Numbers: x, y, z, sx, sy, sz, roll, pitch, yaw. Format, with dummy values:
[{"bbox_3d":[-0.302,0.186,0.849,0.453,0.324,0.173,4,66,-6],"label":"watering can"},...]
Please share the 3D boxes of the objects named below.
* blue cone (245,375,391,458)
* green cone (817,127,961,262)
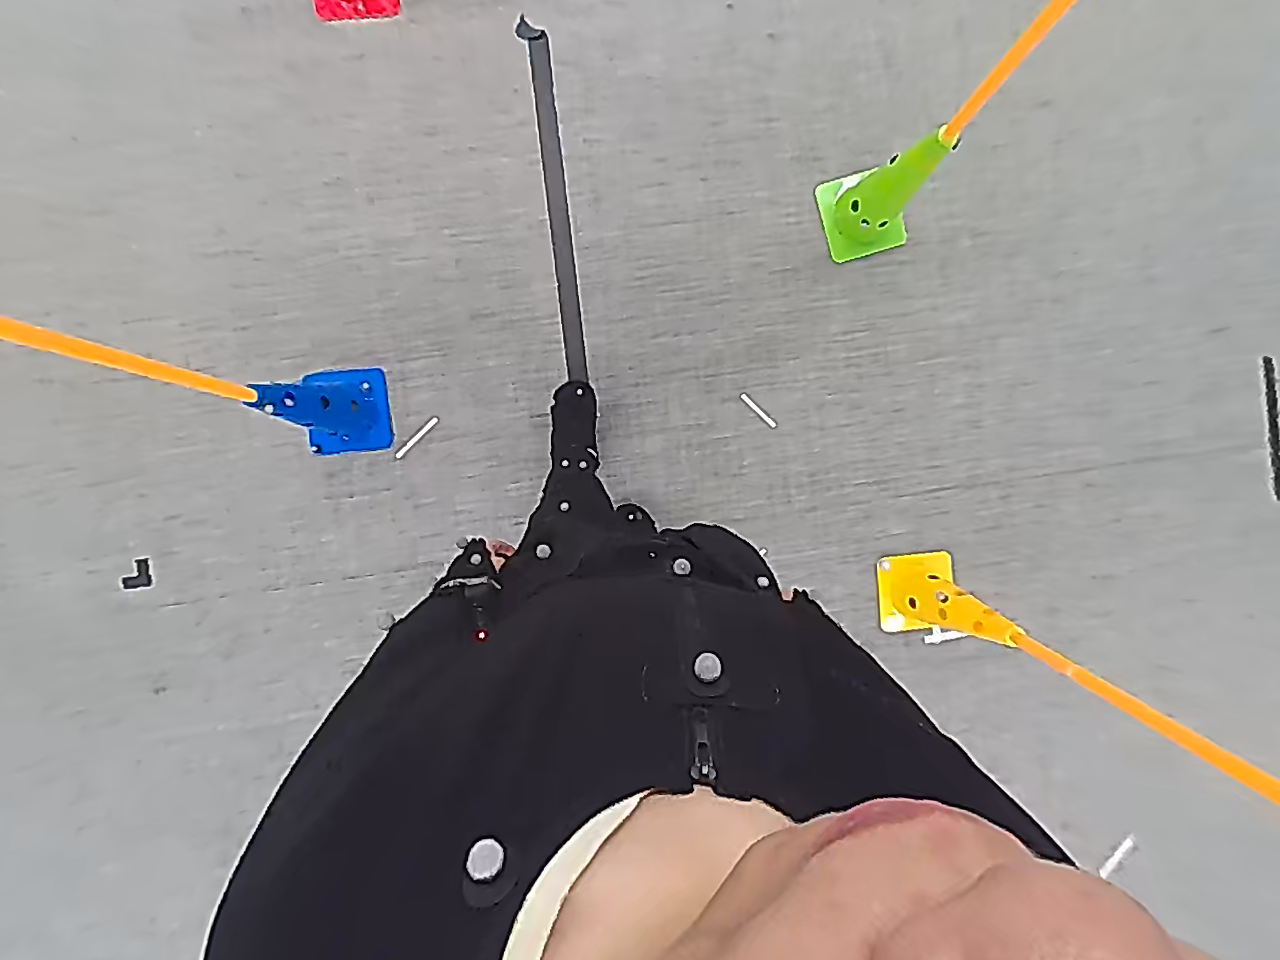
[{"bbox_3d":[-0.703,-0.146,1.153,0.193,0.380,0.192,-5,93,-3],"label":"blue cone"},{"bbox_3d":[0.563,-0.654,1.183,0.200,0.368,0.202,-18,95,-2],"label":"green cone"}]
